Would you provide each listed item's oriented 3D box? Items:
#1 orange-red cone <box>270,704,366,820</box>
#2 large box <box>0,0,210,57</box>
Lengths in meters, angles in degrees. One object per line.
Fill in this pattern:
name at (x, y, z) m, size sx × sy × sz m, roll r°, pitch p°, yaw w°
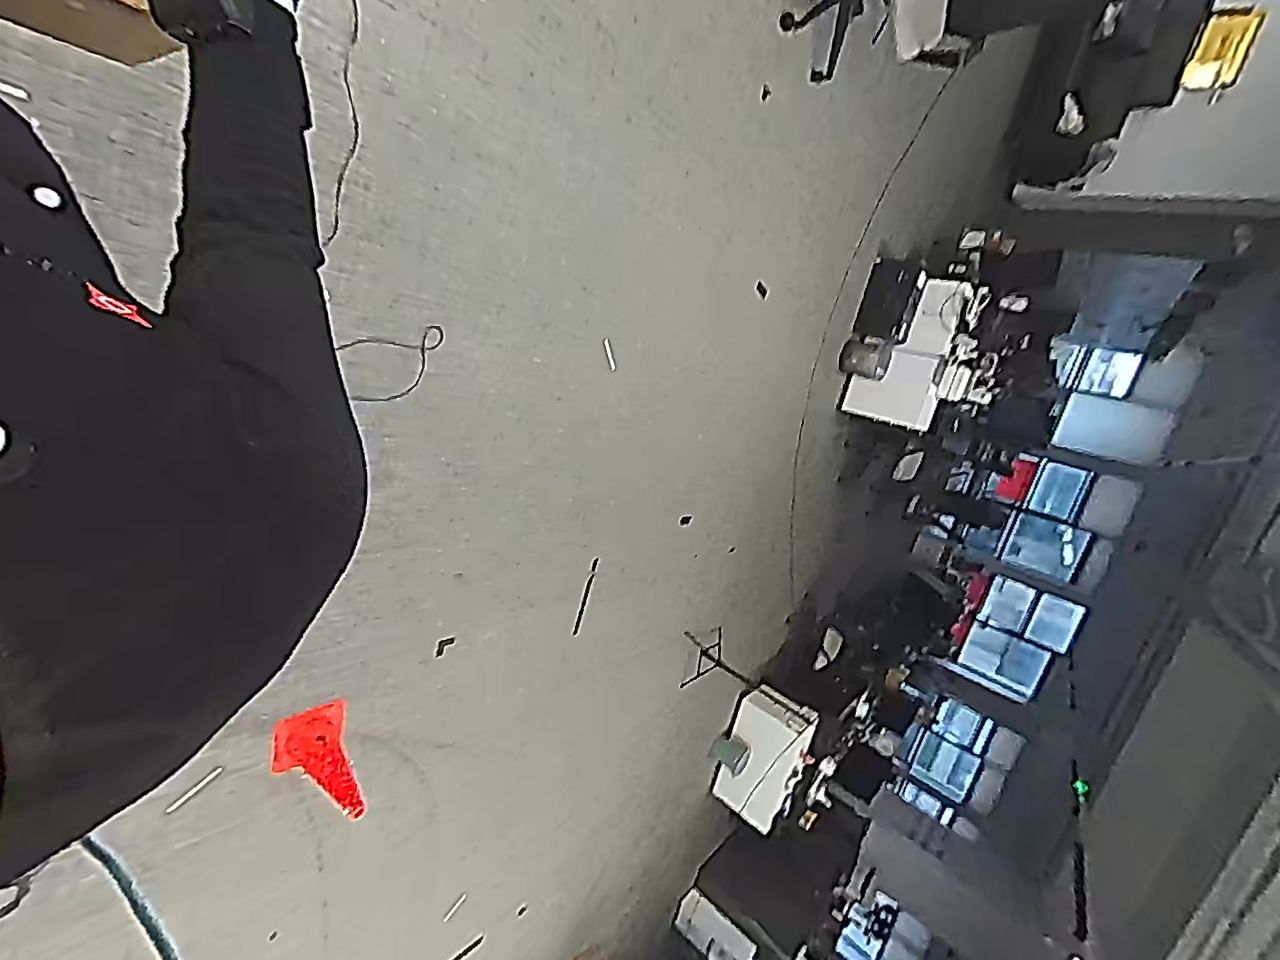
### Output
orange-red cone at (-0.903, 0.860, 1.579) m, size 0.198 × 0.360 × 0.199 m, roll -5°, pitch 111°, yaw -52°
large box at (-0.516, -0.499, 0.278) m, size 0.408 × 0.320 × 0.320 m, roll -8°, pitch 119°, yaw -50°
